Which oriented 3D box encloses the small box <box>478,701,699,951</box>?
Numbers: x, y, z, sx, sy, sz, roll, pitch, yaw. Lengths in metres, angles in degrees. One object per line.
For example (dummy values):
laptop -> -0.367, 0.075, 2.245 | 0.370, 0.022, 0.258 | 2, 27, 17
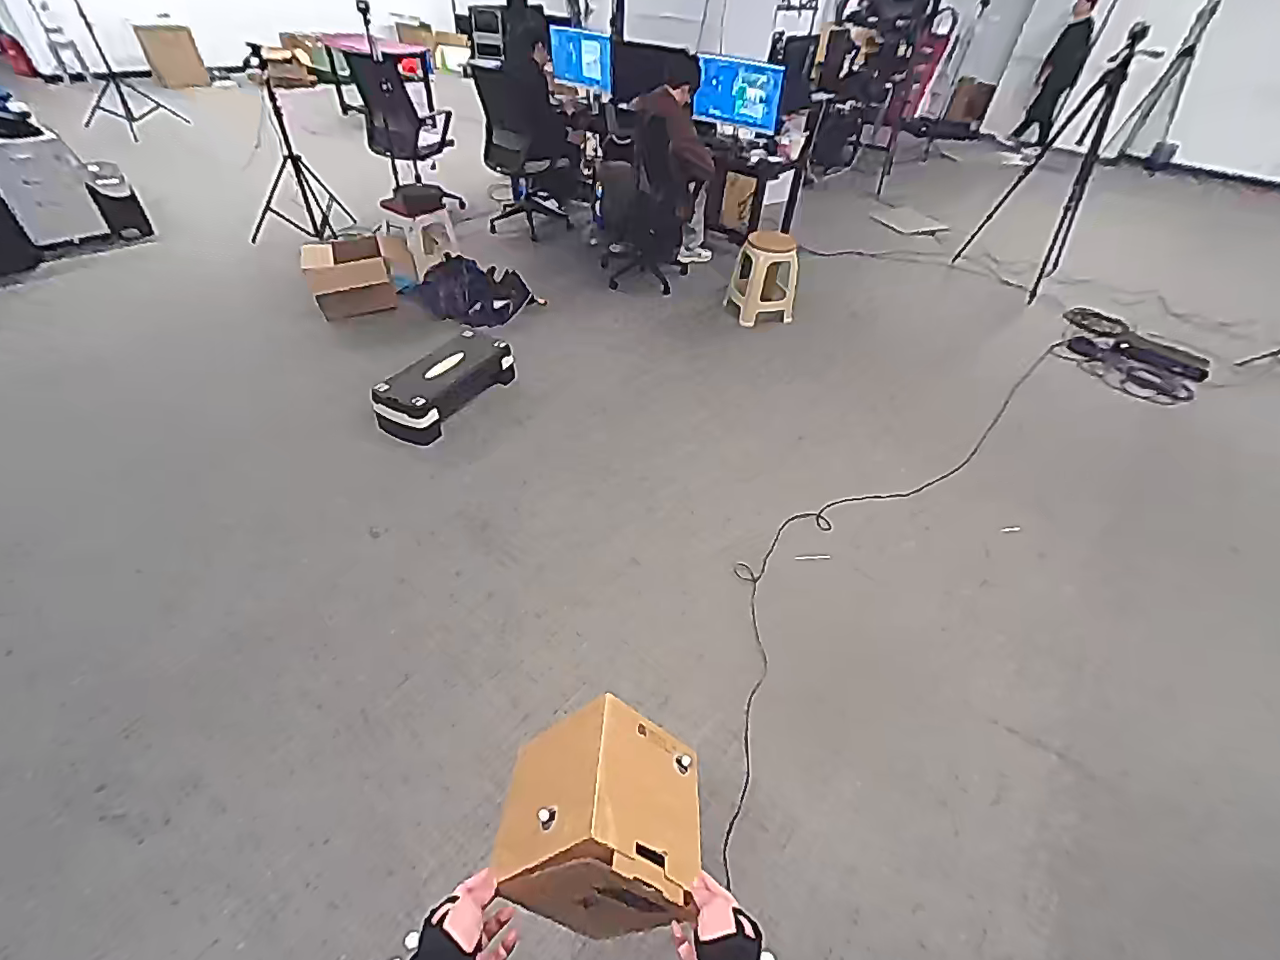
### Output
small box -> -0.053, 0.397, 0.634 | 0.168, 0.179, 0.176 | 43, 22, -18
